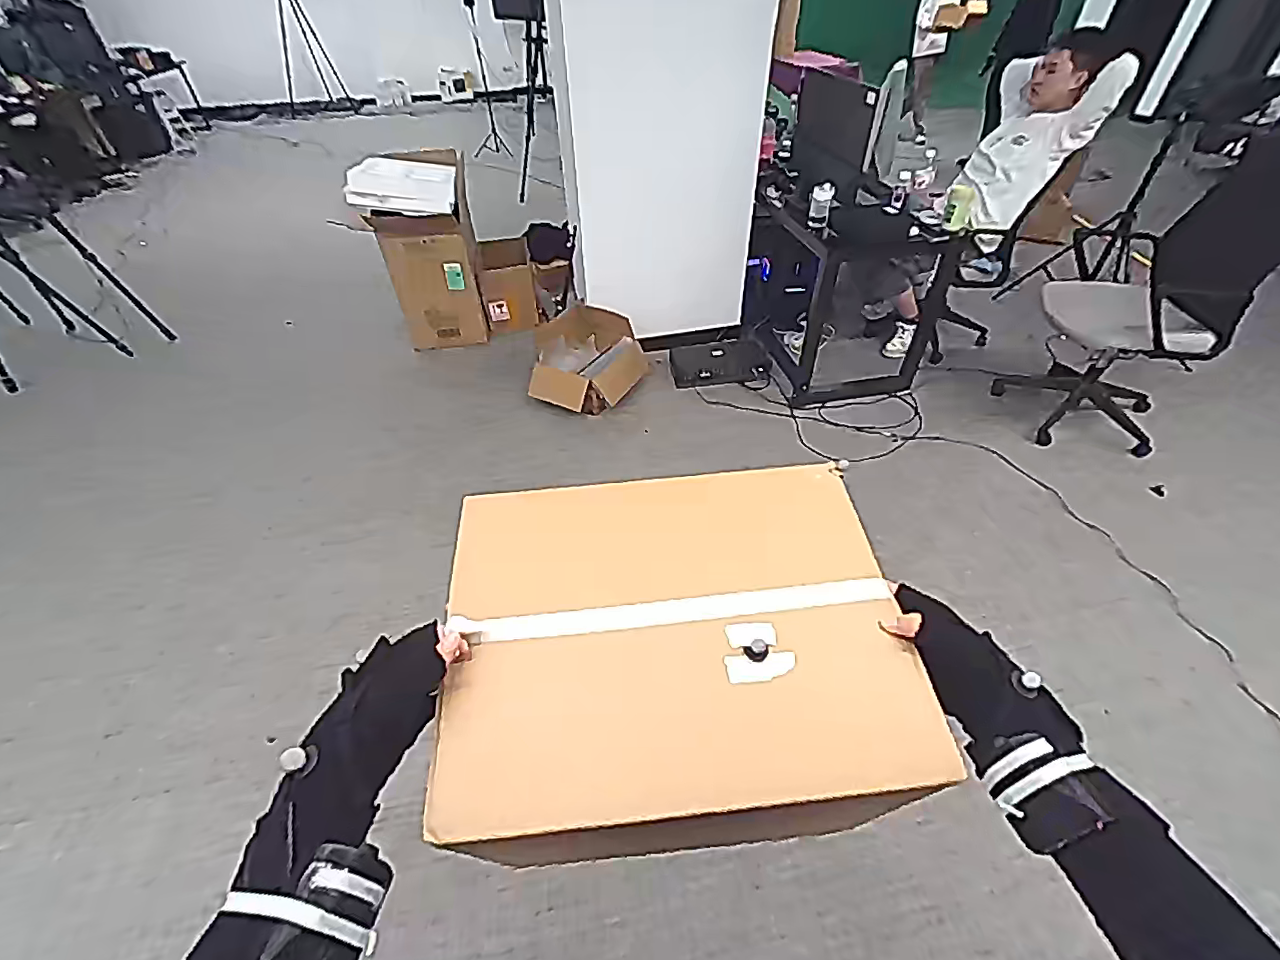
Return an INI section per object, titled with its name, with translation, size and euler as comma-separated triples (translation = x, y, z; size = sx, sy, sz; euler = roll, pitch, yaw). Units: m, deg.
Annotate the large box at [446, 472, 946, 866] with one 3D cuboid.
[large box]
translation = 0.034, 0.221, 0.624
size = 0.408, 0.320, 0.320
euler = -5, 52, -3
